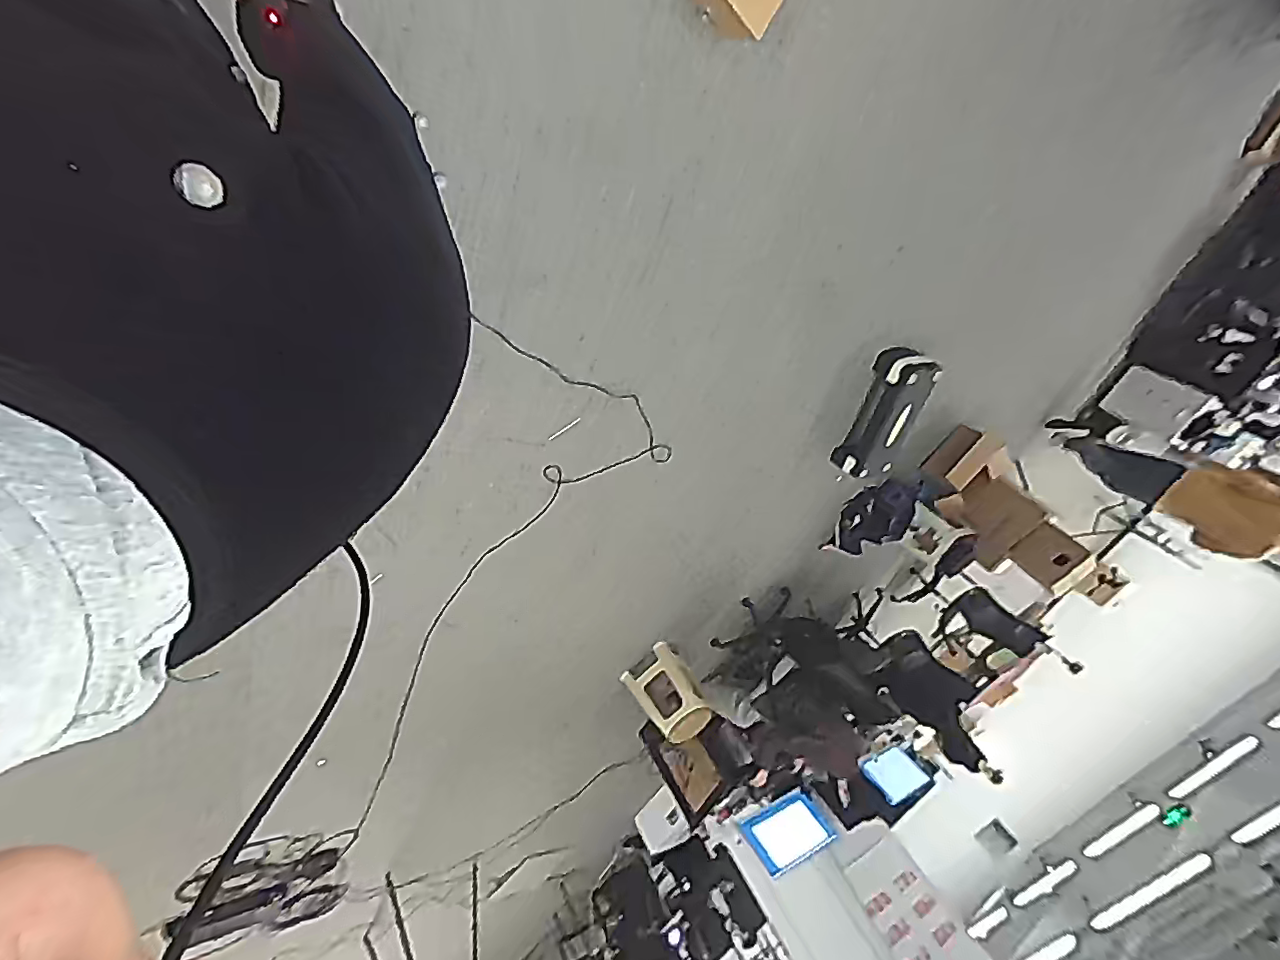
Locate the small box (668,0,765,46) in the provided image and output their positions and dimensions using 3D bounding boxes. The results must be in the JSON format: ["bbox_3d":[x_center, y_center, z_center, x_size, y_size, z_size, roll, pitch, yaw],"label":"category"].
[{"bbox_3d":[0.200,-1.229,1.340,0.168,0.176,0.179,15,116,-43],"label":"small box"}]
